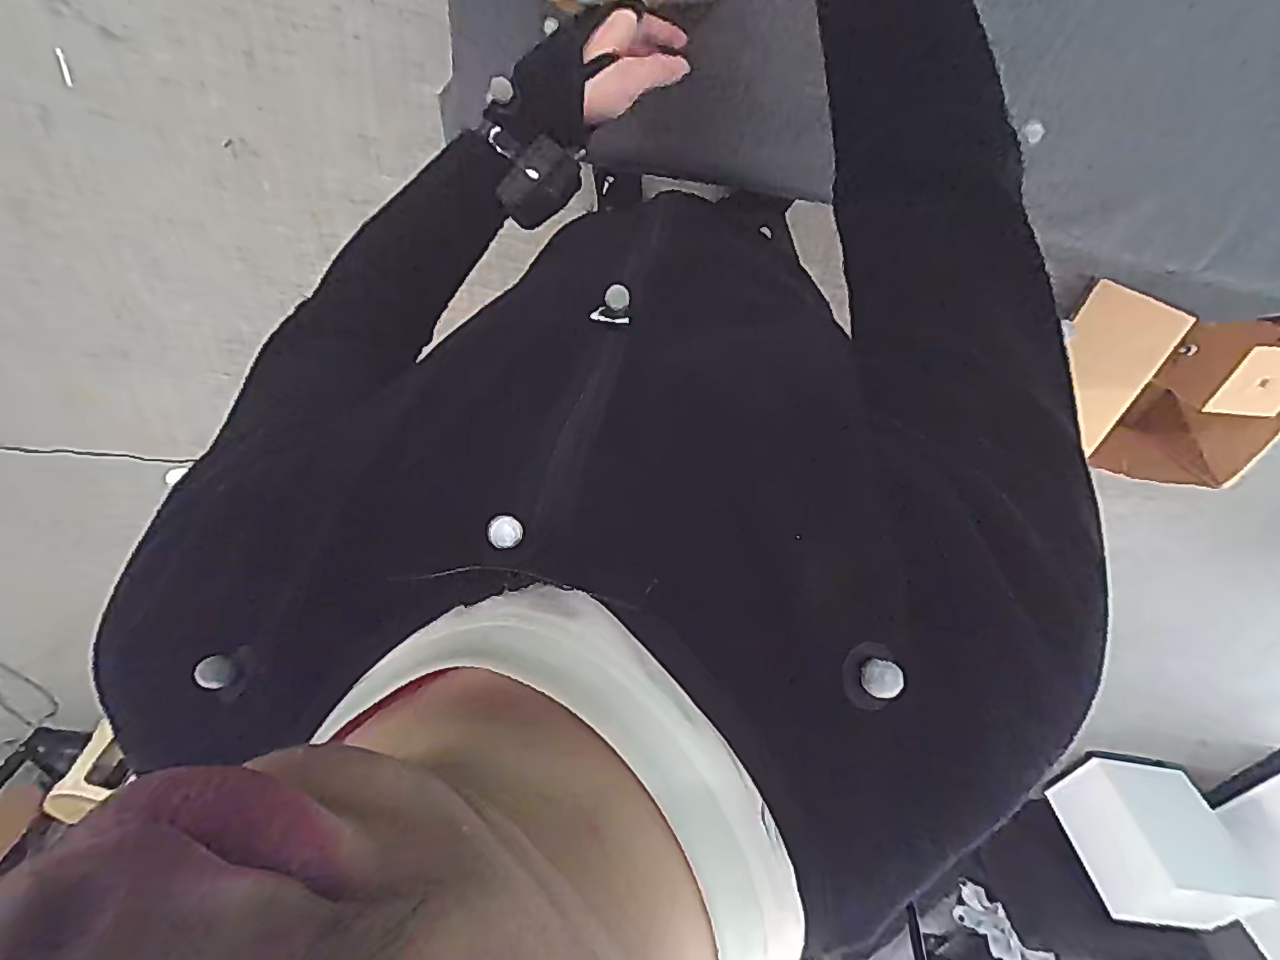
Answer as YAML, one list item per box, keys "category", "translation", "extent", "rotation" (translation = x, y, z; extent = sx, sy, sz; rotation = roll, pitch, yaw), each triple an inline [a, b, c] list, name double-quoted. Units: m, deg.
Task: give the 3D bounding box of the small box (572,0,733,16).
- category: "small box"
  translation: [0.008, -0.507, 0.441]
  extent: [0.168, 0.176, 0.179]
  rotation: [-1, 125, 2]

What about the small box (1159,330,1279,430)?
- category: "small box"
  translation: [1.385, -0.233, 1.246]
  extent: [0.179, 0.176, 0.168]
  rotation: [5, 128, 0]
